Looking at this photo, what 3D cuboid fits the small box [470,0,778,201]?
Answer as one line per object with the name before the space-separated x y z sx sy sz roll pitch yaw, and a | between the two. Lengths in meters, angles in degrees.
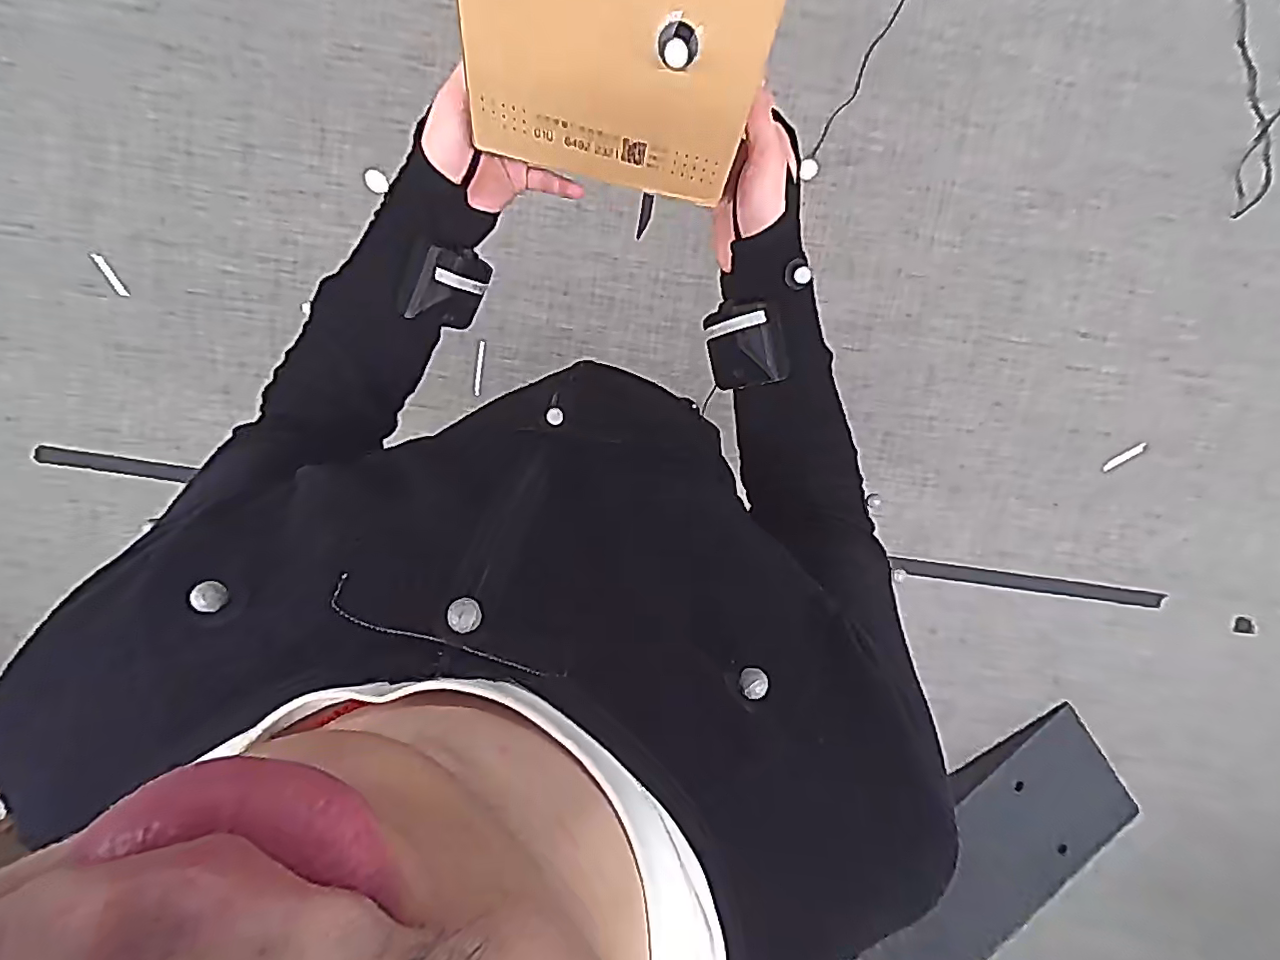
small box | -0.001 -0.312 0.335 0.168 0.176 0.179 13 62 -6
